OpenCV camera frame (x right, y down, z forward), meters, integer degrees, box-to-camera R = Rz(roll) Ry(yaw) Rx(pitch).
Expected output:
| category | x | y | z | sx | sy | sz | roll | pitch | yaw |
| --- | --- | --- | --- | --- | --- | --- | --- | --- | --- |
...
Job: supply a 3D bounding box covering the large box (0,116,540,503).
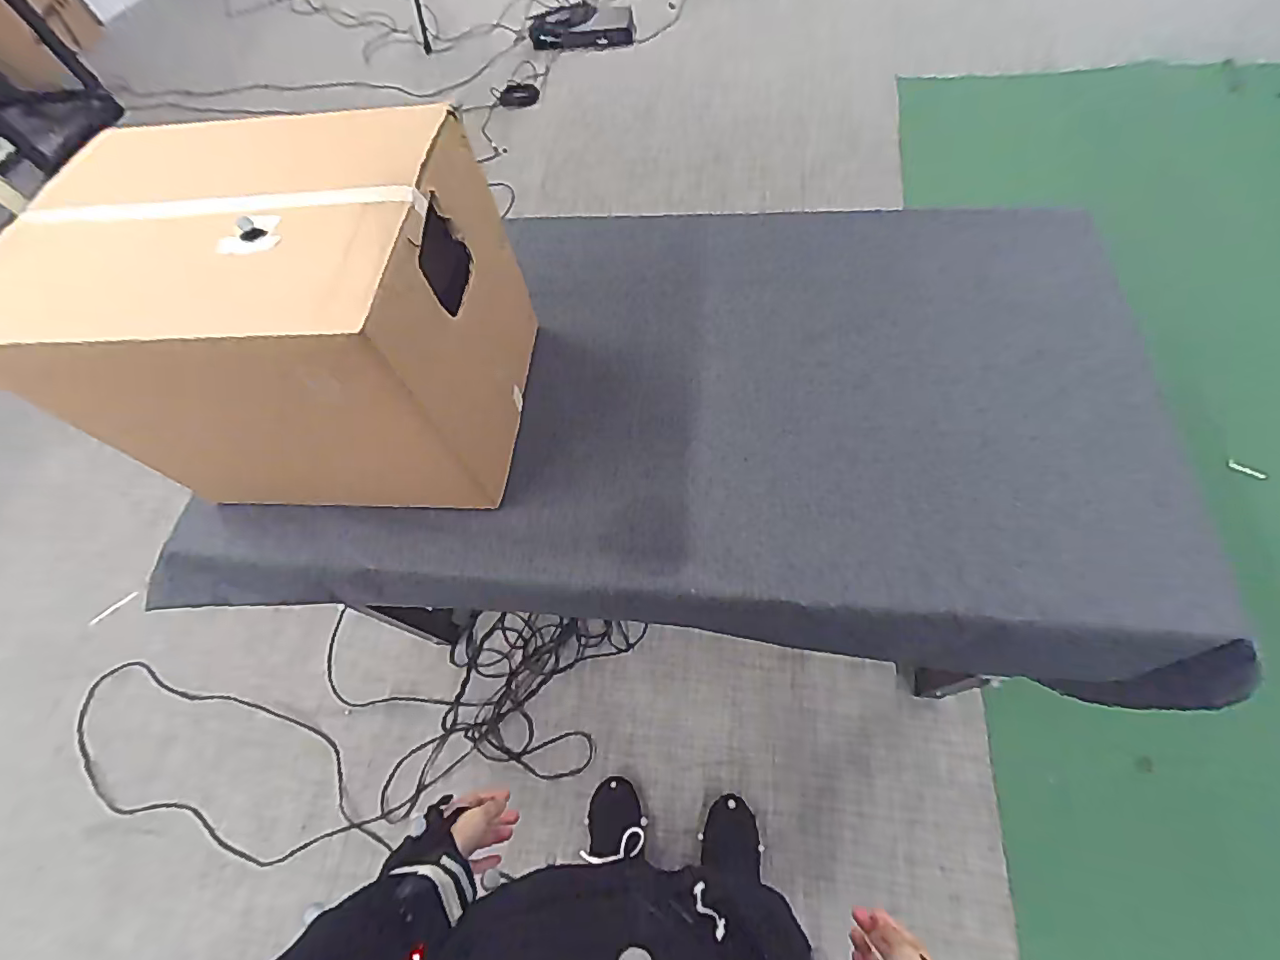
| category | x | y | z | sx | sy | sz | roll | pitch | yaw |
| --- | --- | --- | --- | --- | --- | --- | --- | --- | --- |
| large box | -0.367 | -0.174 | 0.637 | 0.408 | 0.320 | 0.320 | 1 | 62 | 6 |
